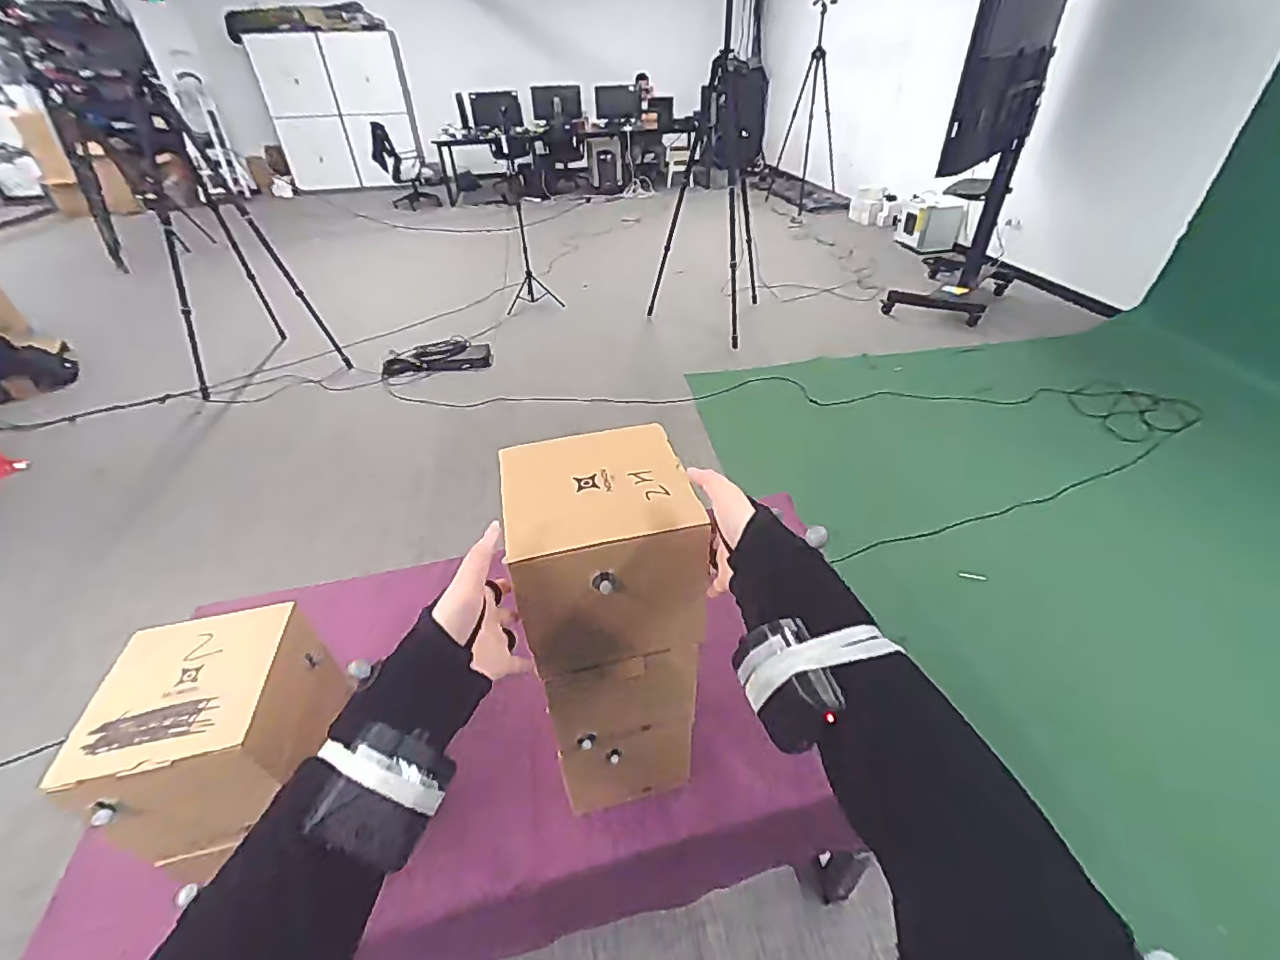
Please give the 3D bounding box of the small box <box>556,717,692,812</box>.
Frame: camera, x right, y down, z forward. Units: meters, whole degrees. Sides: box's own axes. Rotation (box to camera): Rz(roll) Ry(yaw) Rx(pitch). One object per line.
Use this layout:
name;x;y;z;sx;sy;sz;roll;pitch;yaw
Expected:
small box;-0.031;0.327;0.764;0.168;0.176;0.179;-11;38;-8

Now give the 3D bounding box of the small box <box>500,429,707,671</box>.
small box;-0.039;0.071;0.557;0.179;0.176;0.168;-10;40;-9

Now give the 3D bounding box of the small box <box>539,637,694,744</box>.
small box;-0.035;0.197;0.663;0.168;0.176;0.179;-10;38;-10

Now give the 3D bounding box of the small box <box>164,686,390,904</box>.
small box;-0.439;0.401;0.695;0.168;0.176;0.179;-10;40;-8
